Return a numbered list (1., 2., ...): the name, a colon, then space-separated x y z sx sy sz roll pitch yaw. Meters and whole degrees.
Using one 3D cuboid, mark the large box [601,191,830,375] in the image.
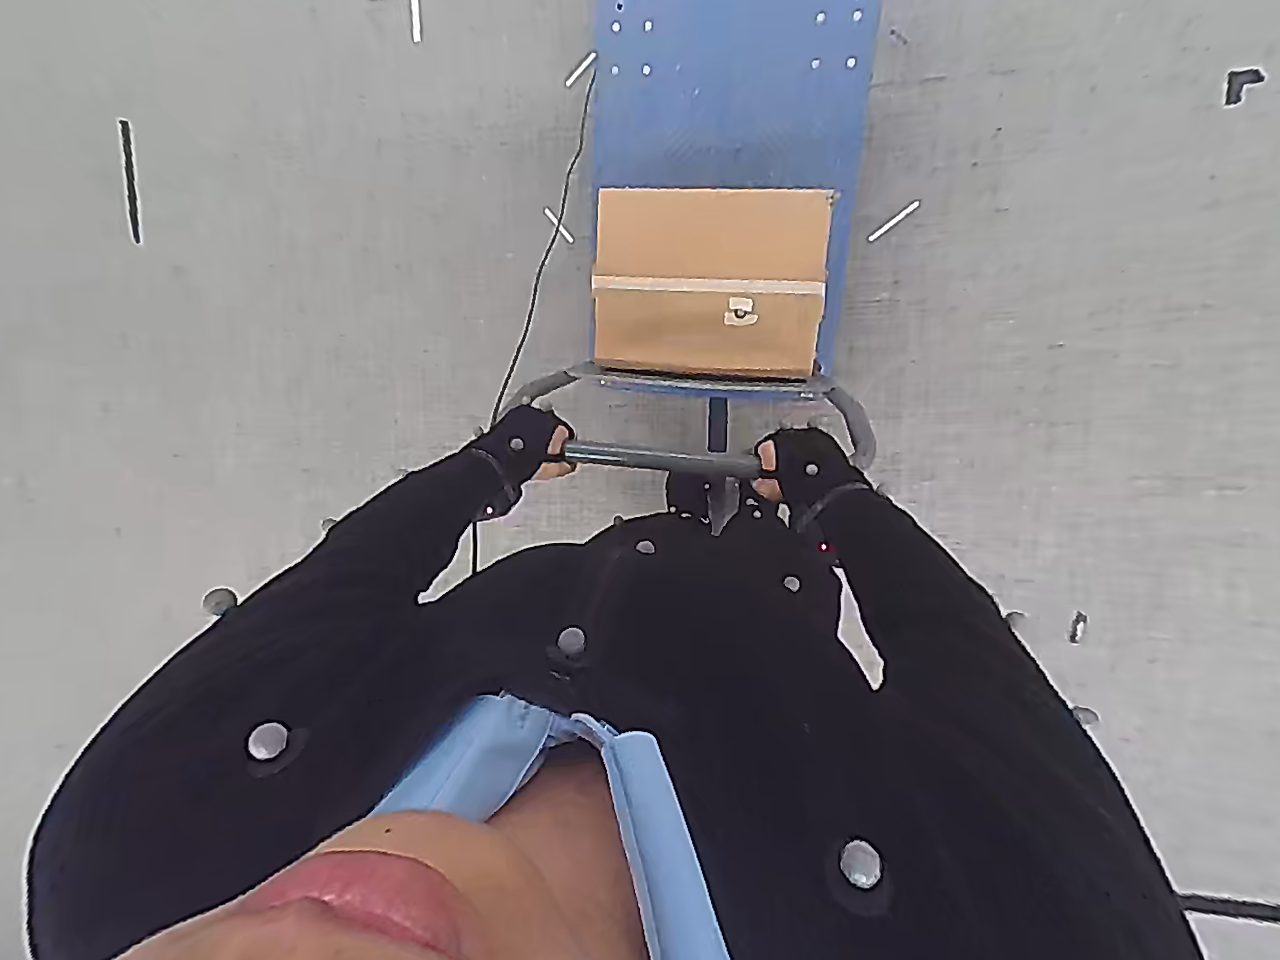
1. large box: 0.146 -0.386 1.122 0.408 0.320 0.320 5 105 8
